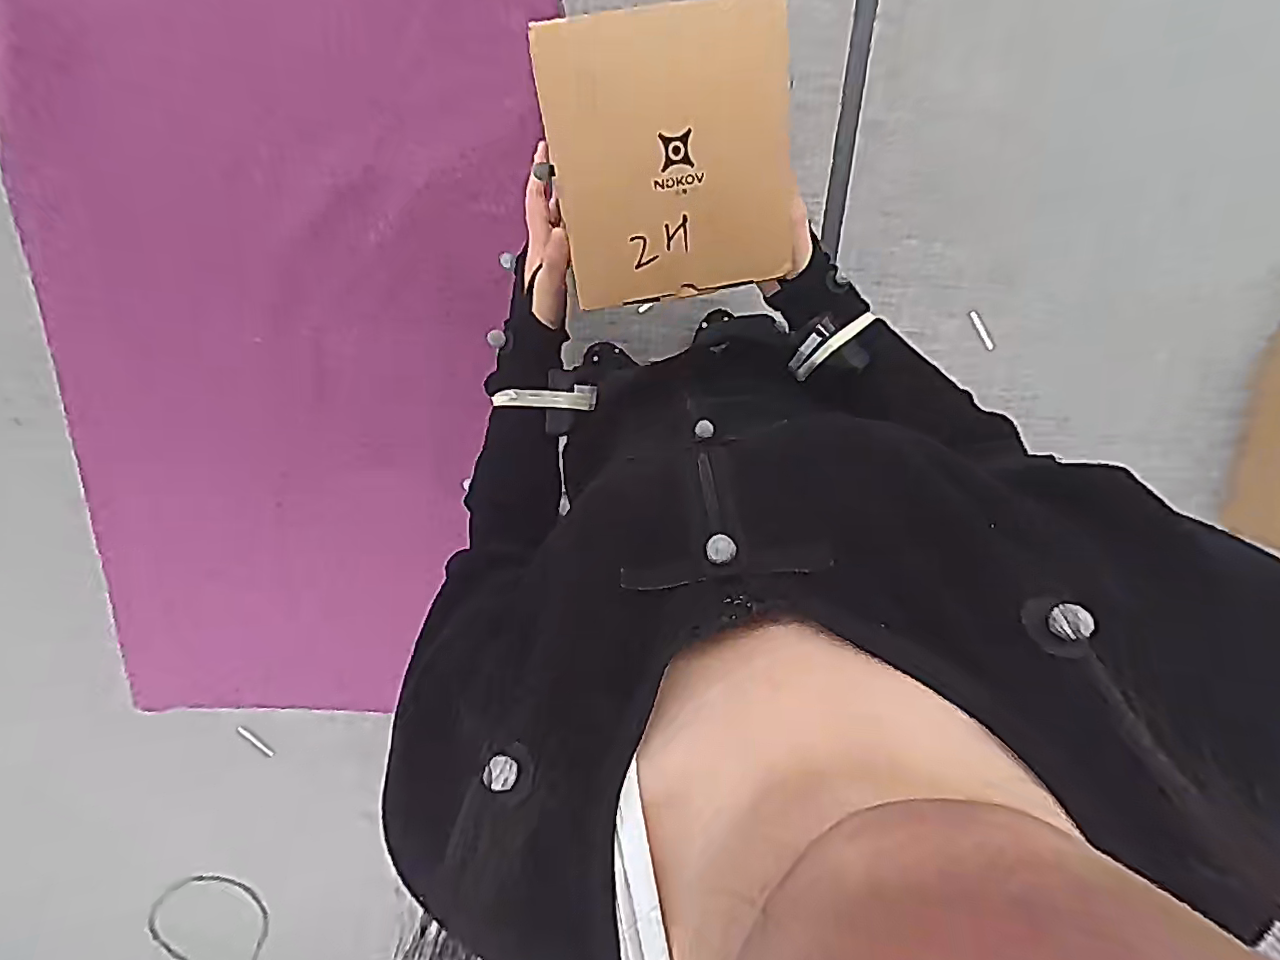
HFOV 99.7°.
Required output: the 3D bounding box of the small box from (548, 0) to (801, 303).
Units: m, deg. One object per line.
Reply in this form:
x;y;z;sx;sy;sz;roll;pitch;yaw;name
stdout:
0.020;-0.257;0.444;0.168;0.176;0.179;-10;118;-3;small box
